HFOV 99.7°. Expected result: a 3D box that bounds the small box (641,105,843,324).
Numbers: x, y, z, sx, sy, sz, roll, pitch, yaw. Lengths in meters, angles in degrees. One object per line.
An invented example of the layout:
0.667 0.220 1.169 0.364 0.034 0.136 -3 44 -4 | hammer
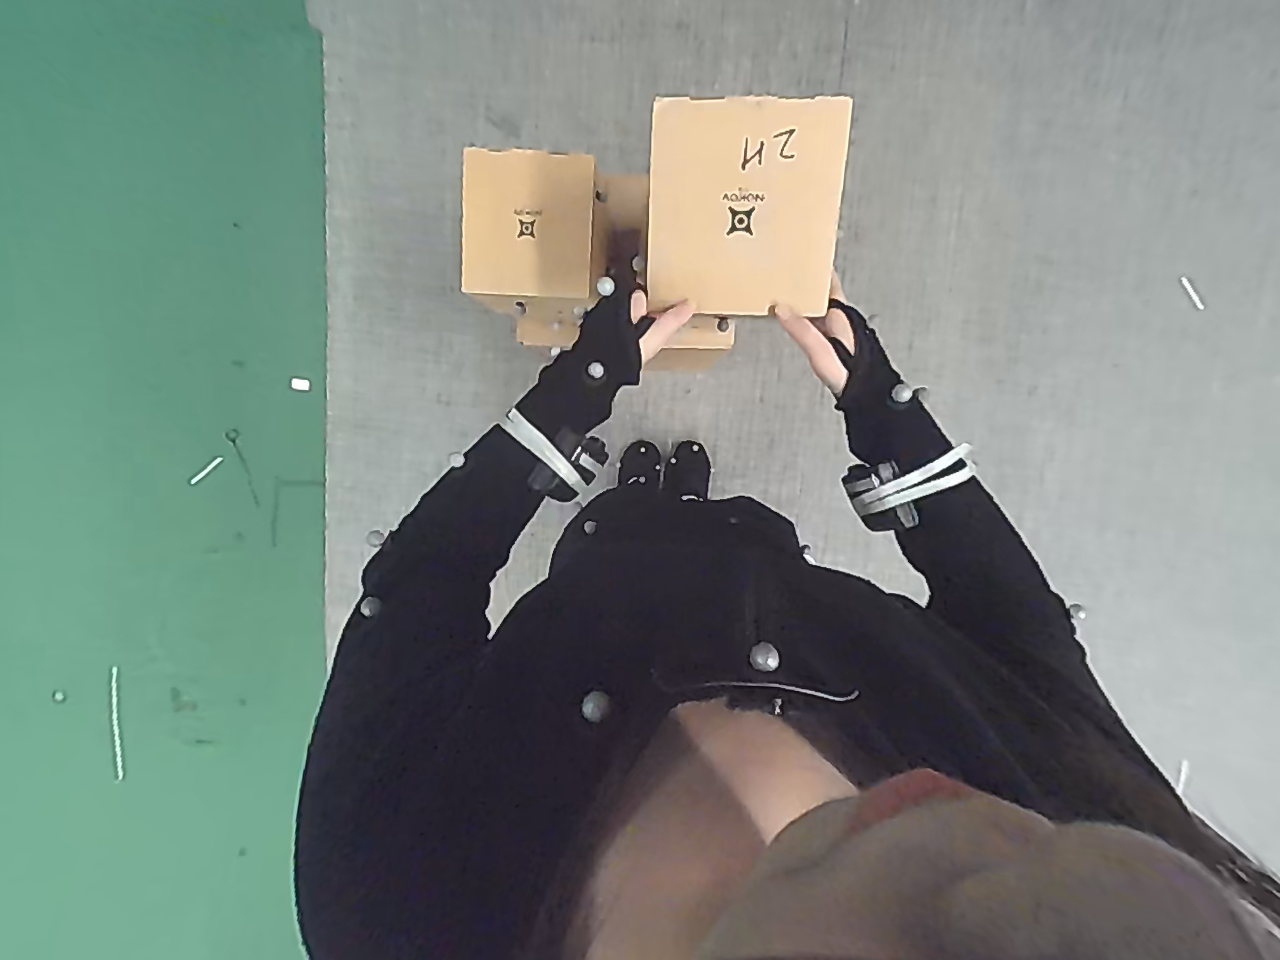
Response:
0.095 -0.258 0.560 0.168 0.176 0.179 4 106 5 | small box

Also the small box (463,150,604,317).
-0.142 -0.334 0.768 0.168 0.176 0.179 4 98 0 | small box

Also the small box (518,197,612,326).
-0.137 -0.370 0.926 0.168 0.176 0.179 4 99 0 | small box
